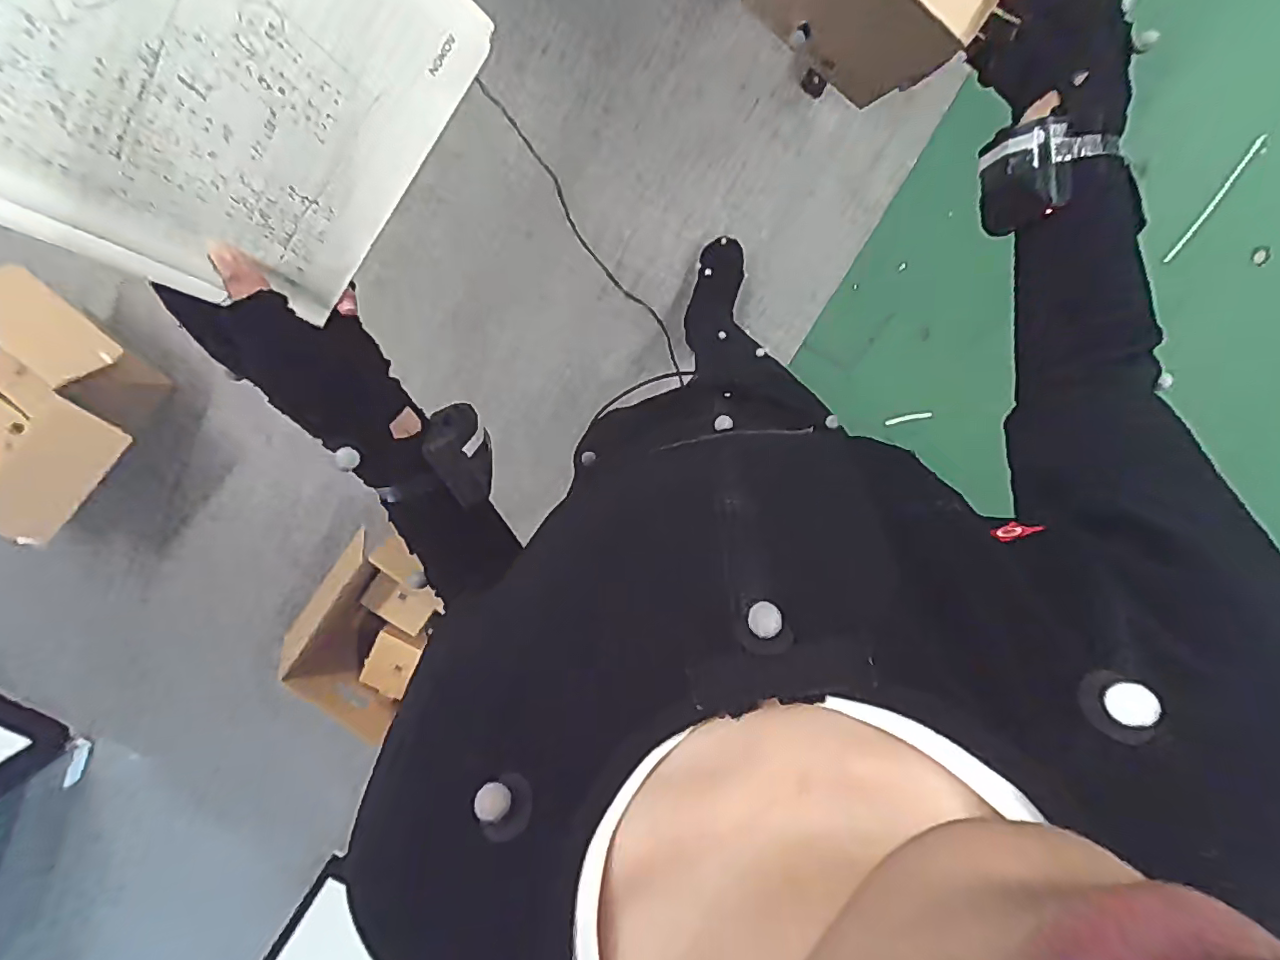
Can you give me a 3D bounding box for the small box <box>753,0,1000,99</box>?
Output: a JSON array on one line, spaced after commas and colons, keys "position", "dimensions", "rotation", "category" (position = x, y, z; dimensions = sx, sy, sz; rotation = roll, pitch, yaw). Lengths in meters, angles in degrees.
[{"position": [0.218, -0.466, 0.441], "dimensions": [0.168, 0.176, 0.179], "rotation": [29, 105, -16], "category": "small box"}]
